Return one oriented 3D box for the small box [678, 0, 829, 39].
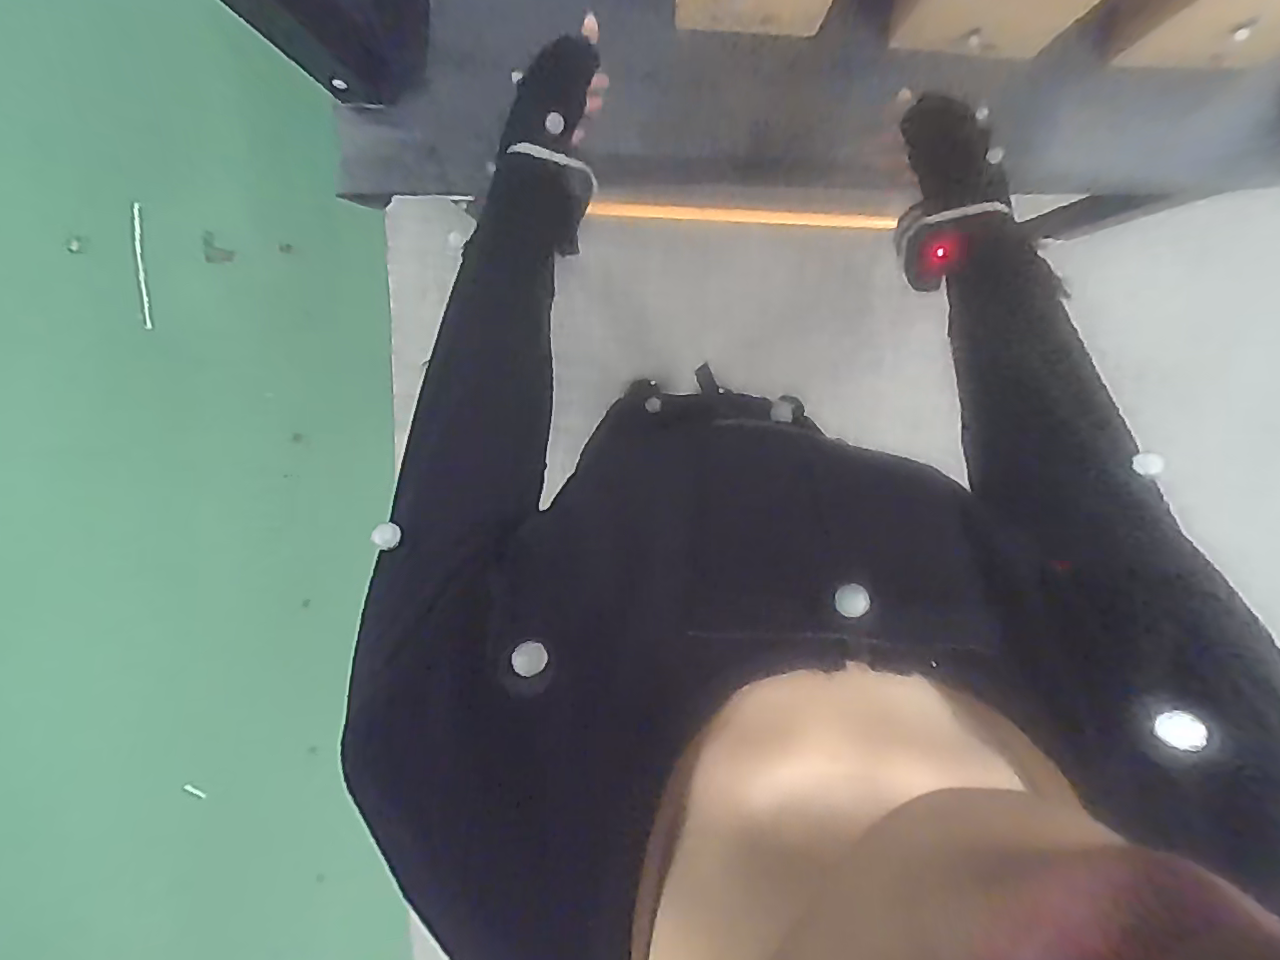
[{"bbox_3d":[0.127,-0.590,0.545,0.168,0.176,0.179,4,101,1],"label":"small box"}]
